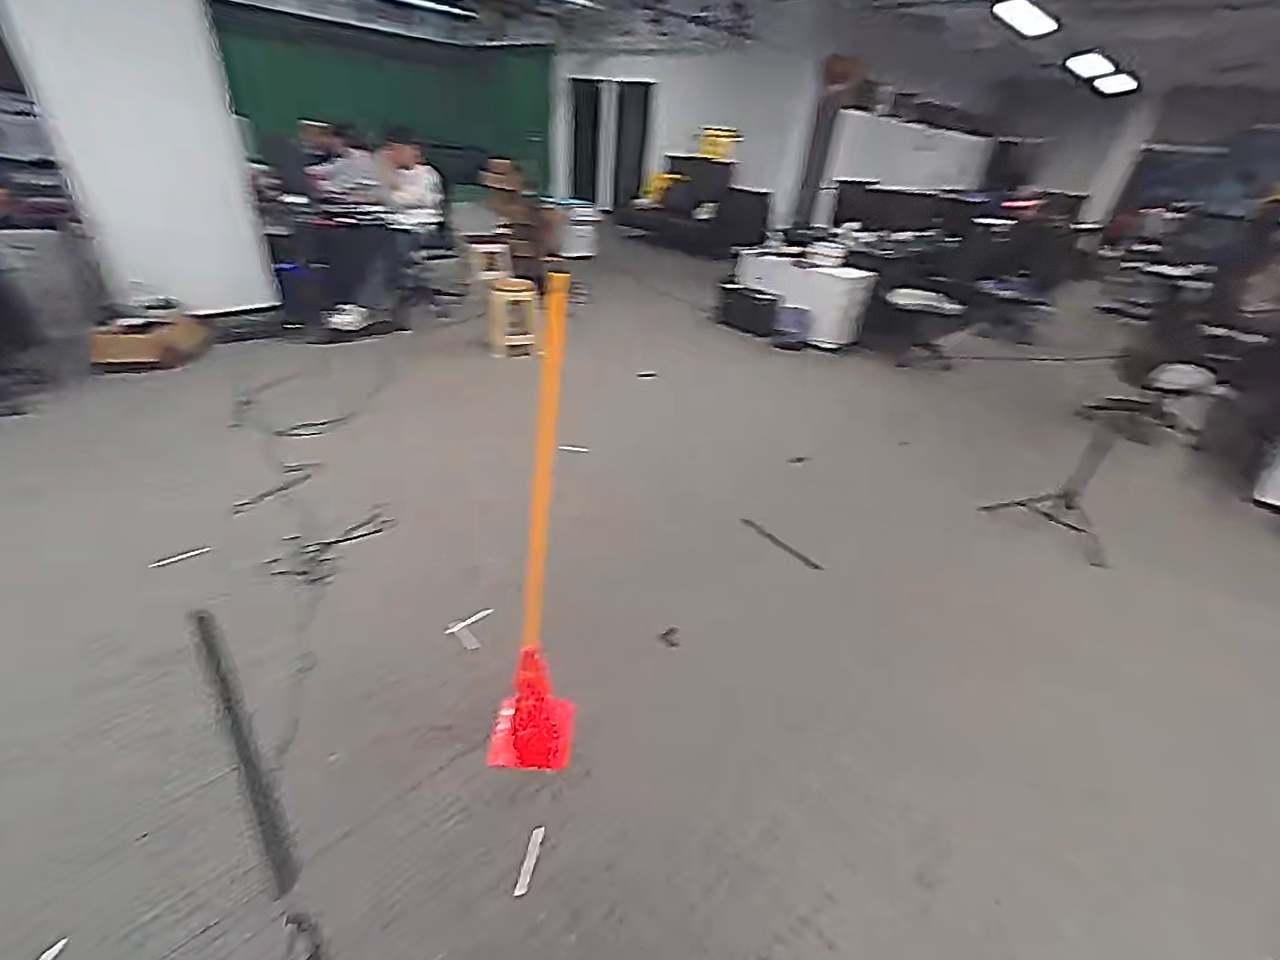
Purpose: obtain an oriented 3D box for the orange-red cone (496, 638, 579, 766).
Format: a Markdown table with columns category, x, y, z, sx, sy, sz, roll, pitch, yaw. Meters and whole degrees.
| category | x | y | z | sx | sy | sz | roll | pitch | yaw |
| --- | --- | --- | --- | --- | --- | --- | --- | --- | --- |
| orange-red cone | -0.263 | 0.537 | 1.379 | 0.198 | 0.360 | 0.199 | 5 | 34 | 0 |
